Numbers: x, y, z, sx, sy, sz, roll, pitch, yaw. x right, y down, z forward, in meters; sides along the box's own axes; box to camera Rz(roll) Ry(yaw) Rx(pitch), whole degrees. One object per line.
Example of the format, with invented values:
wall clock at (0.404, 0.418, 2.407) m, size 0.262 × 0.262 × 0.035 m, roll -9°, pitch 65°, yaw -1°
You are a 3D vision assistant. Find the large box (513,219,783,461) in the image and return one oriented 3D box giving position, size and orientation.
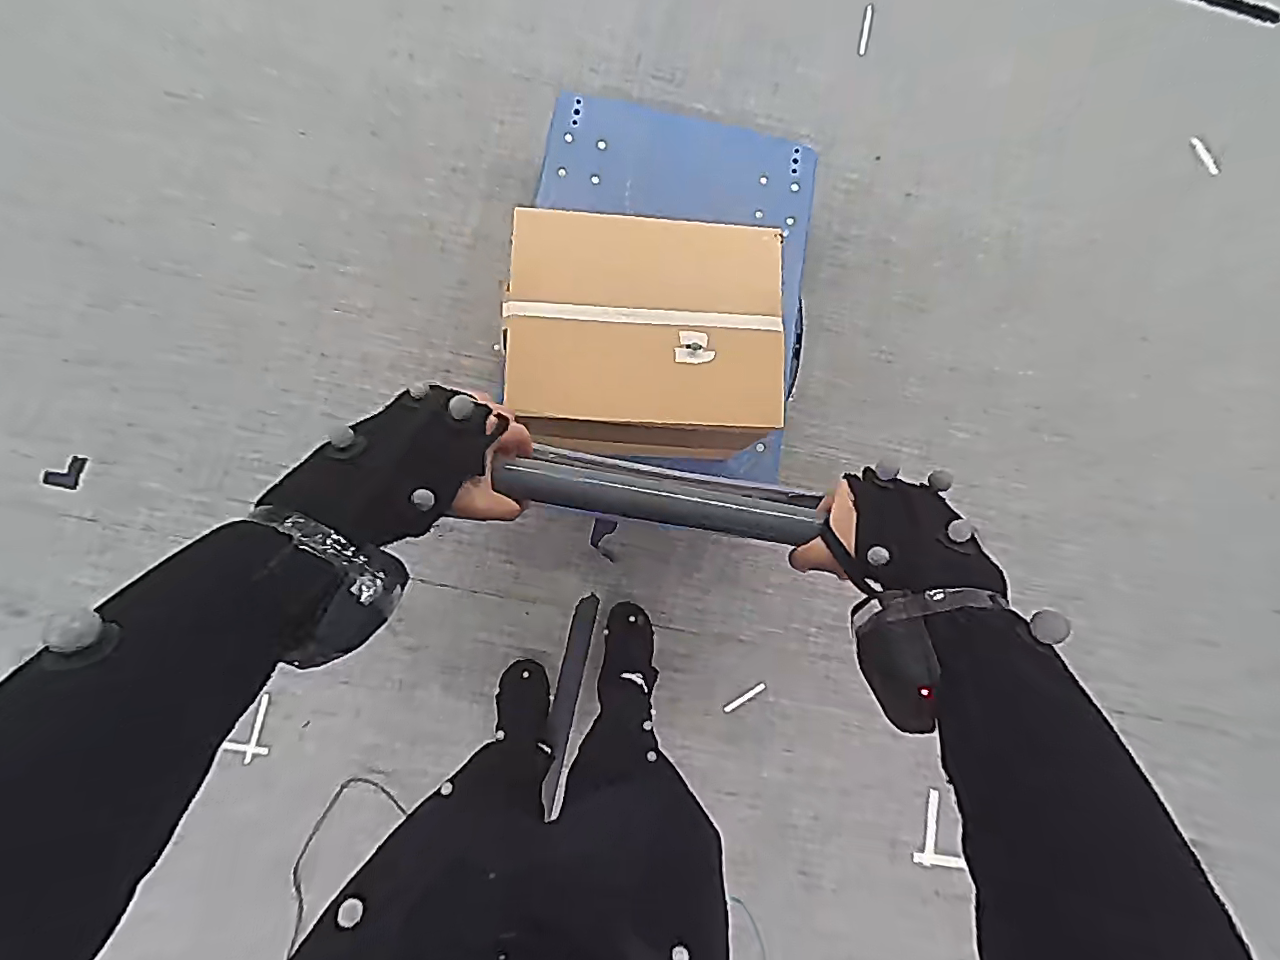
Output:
large box at (-0.001, -0.211, 0.945) m, size 0.408 × 0.320 × 0.320 m, roll 2°, pitch 84°, yaw -7°
